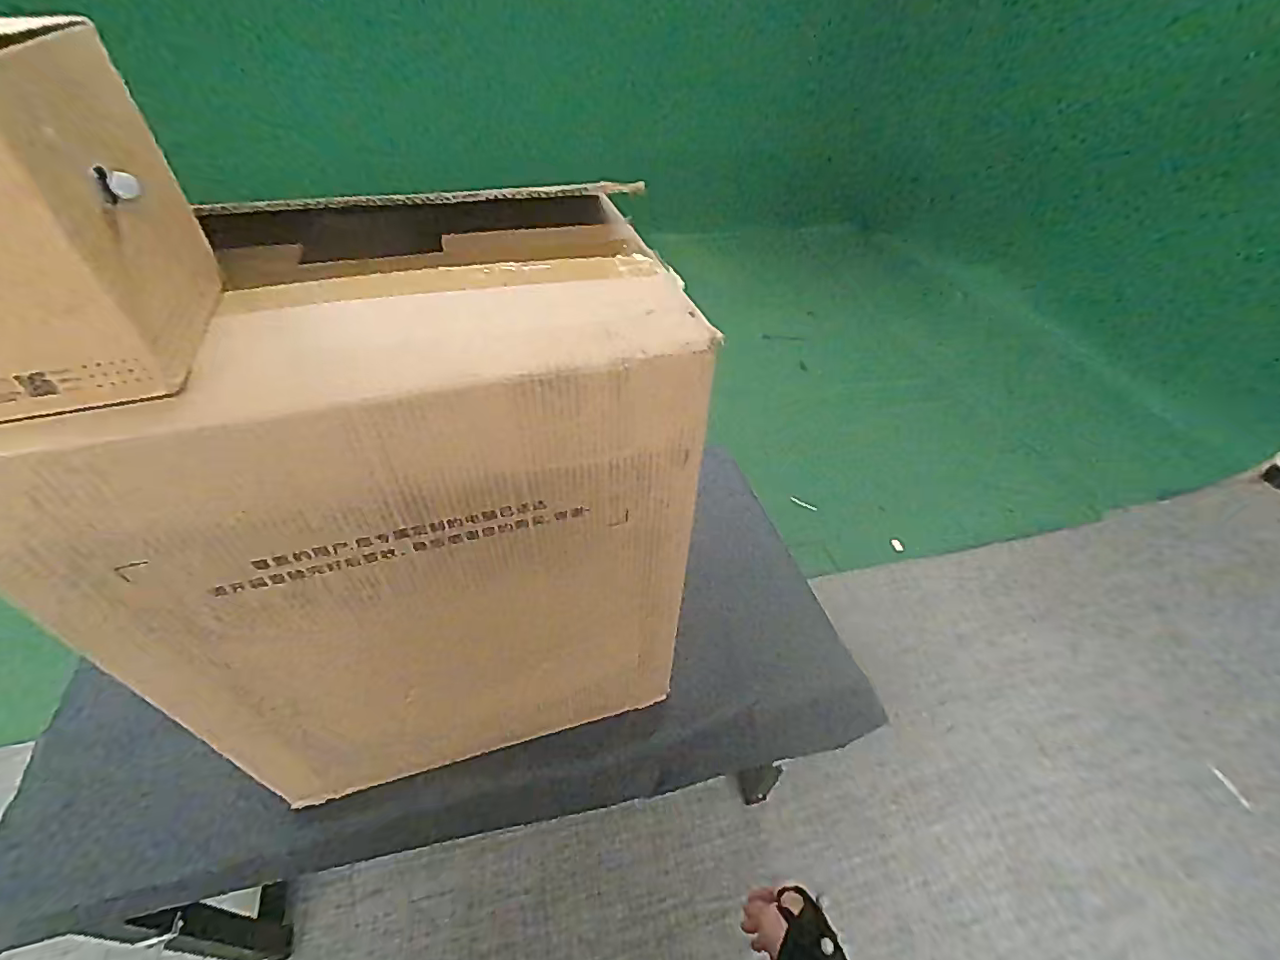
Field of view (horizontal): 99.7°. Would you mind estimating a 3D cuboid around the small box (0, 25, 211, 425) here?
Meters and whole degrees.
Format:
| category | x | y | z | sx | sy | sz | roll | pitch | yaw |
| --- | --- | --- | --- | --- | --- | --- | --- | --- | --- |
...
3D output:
| category | x | y | z | sx | sy | sz | roll | pitch | yaw |
| --- | --- | --- | --- | --- | --- | --- | --- | --- | --- |
| small box | -0.396 | -0.142 | 0.316 | 0.168 | 0.176 | 0.179 | -14 | 47 | -14 |
